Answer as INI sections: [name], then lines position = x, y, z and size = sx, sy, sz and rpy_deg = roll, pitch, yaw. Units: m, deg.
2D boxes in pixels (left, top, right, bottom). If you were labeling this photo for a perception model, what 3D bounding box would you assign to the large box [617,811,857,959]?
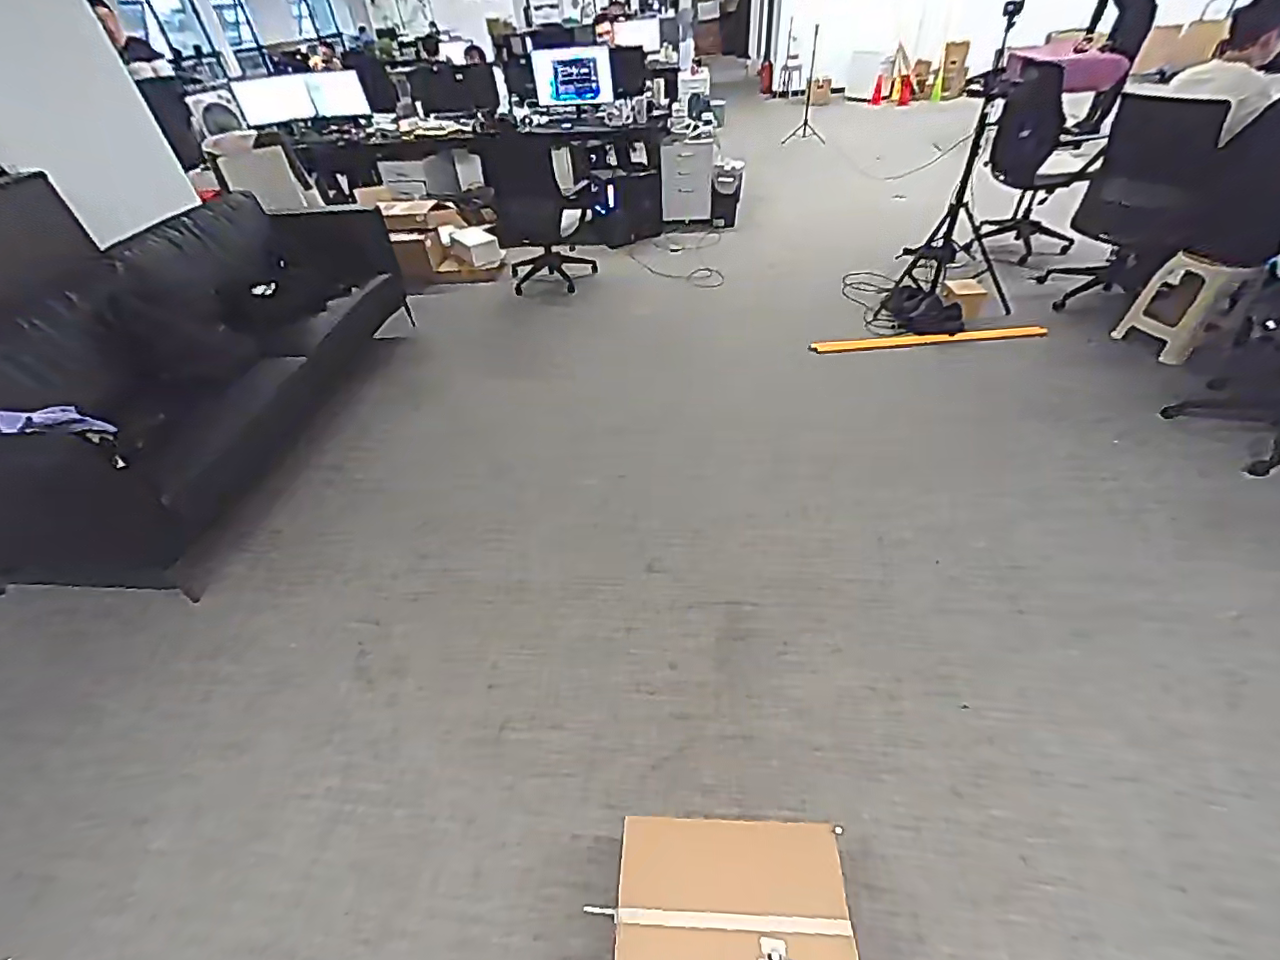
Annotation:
[large box]
position = 0.171, 0.868, 1.041
size = 0.408, 0.320, 0.320
rpy_deg = -1, 43, 5
